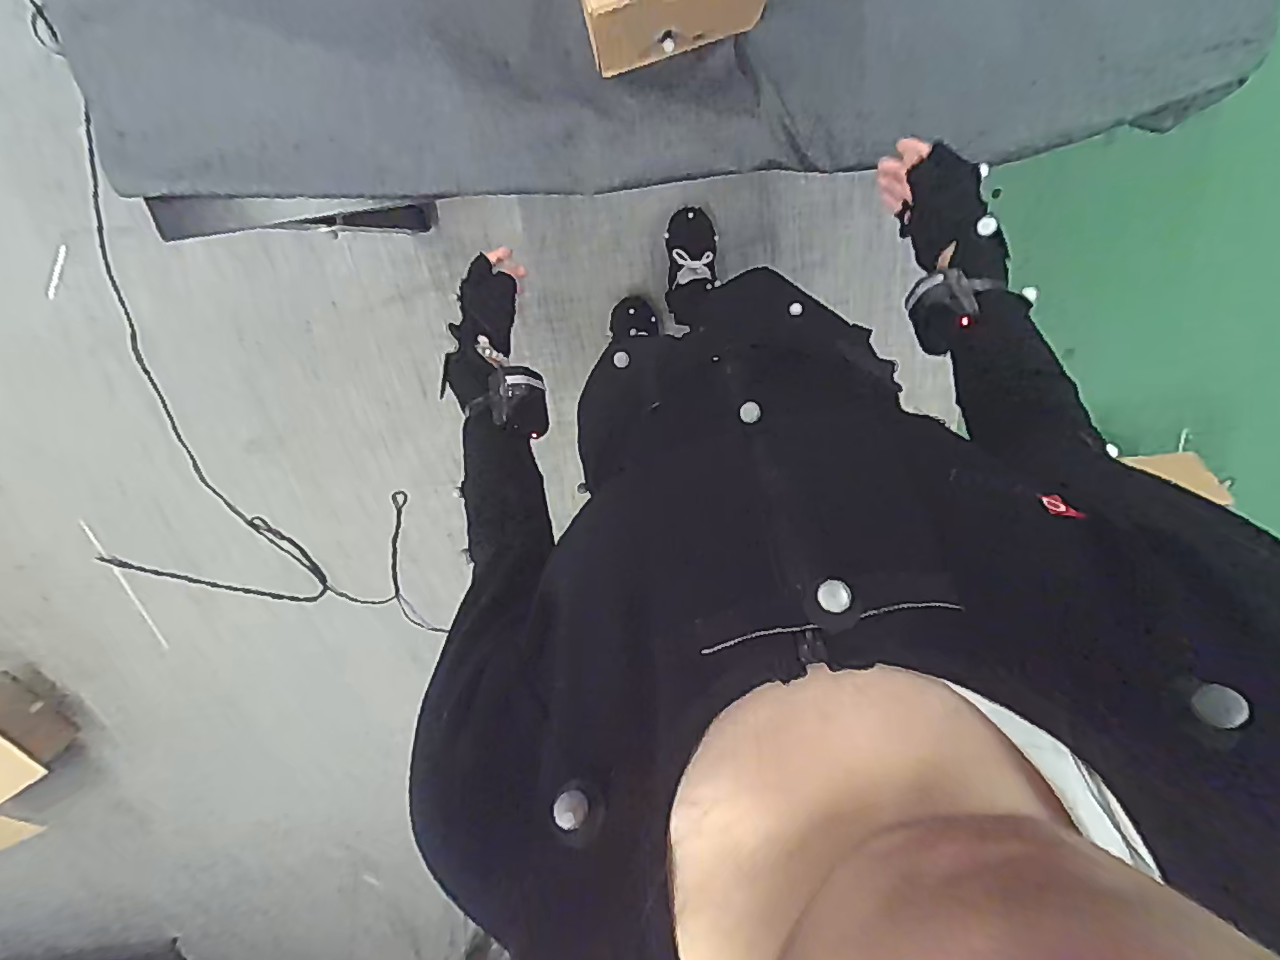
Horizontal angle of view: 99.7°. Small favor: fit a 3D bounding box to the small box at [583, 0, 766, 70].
[{"bbox_3d":[0.019,-0.491,0.455,0.168,0.176,0.179,-15,114,5],"label":"small box"}]
